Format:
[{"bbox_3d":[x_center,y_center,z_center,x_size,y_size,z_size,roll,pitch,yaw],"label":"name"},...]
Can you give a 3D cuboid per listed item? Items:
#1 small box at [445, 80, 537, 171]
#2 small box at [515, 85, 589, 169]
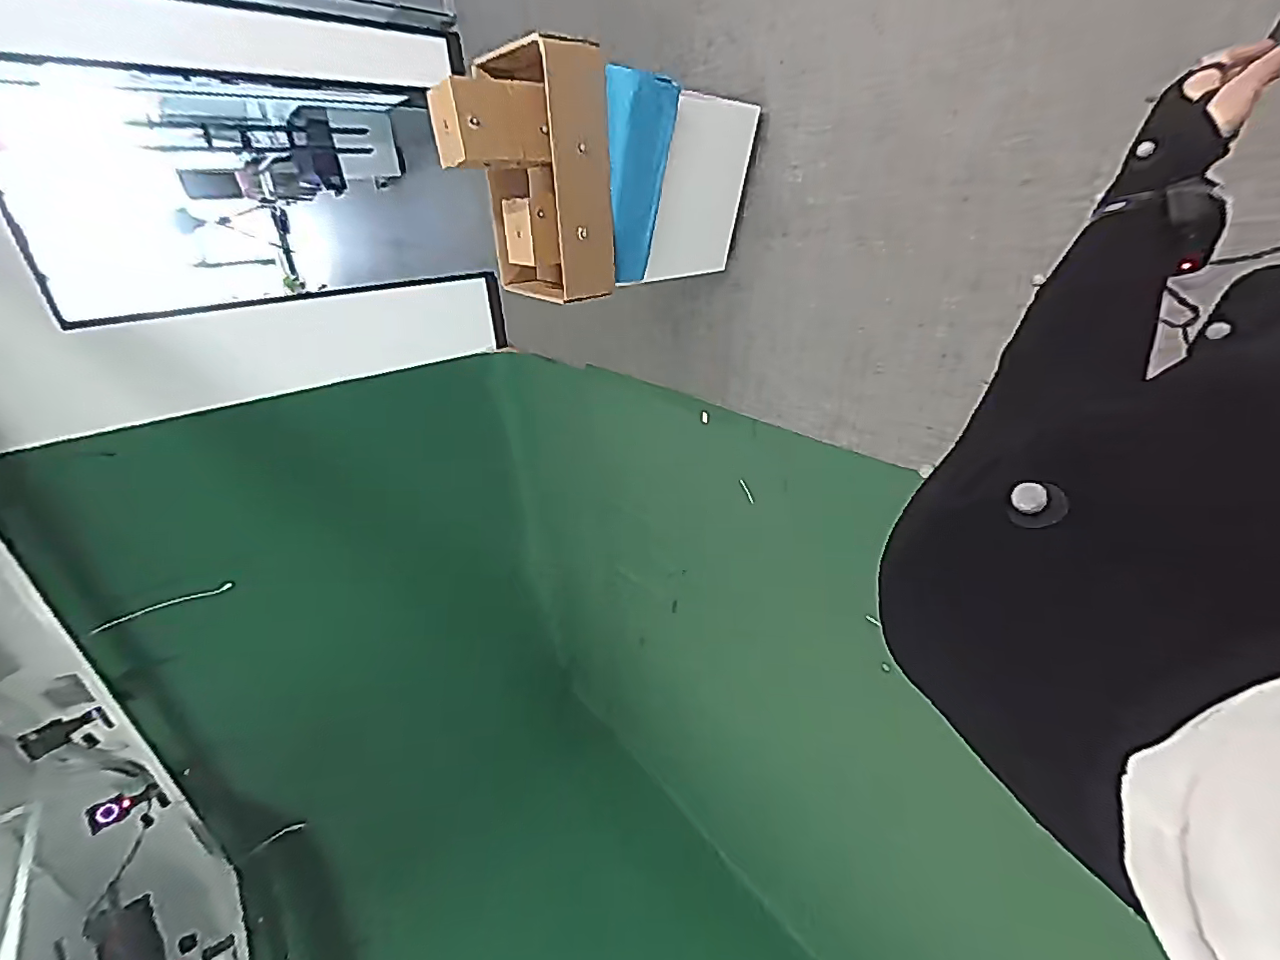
[{"bbox_3d":[-0.384,-0.919,1.412,0.168,0.176,0.179,25,128,48],"label":"small box"},{"bbox_3d":[-0.254,-0.971,1.495,0.168,0.176,0.179,28,131,47],"label":"small box"}]
